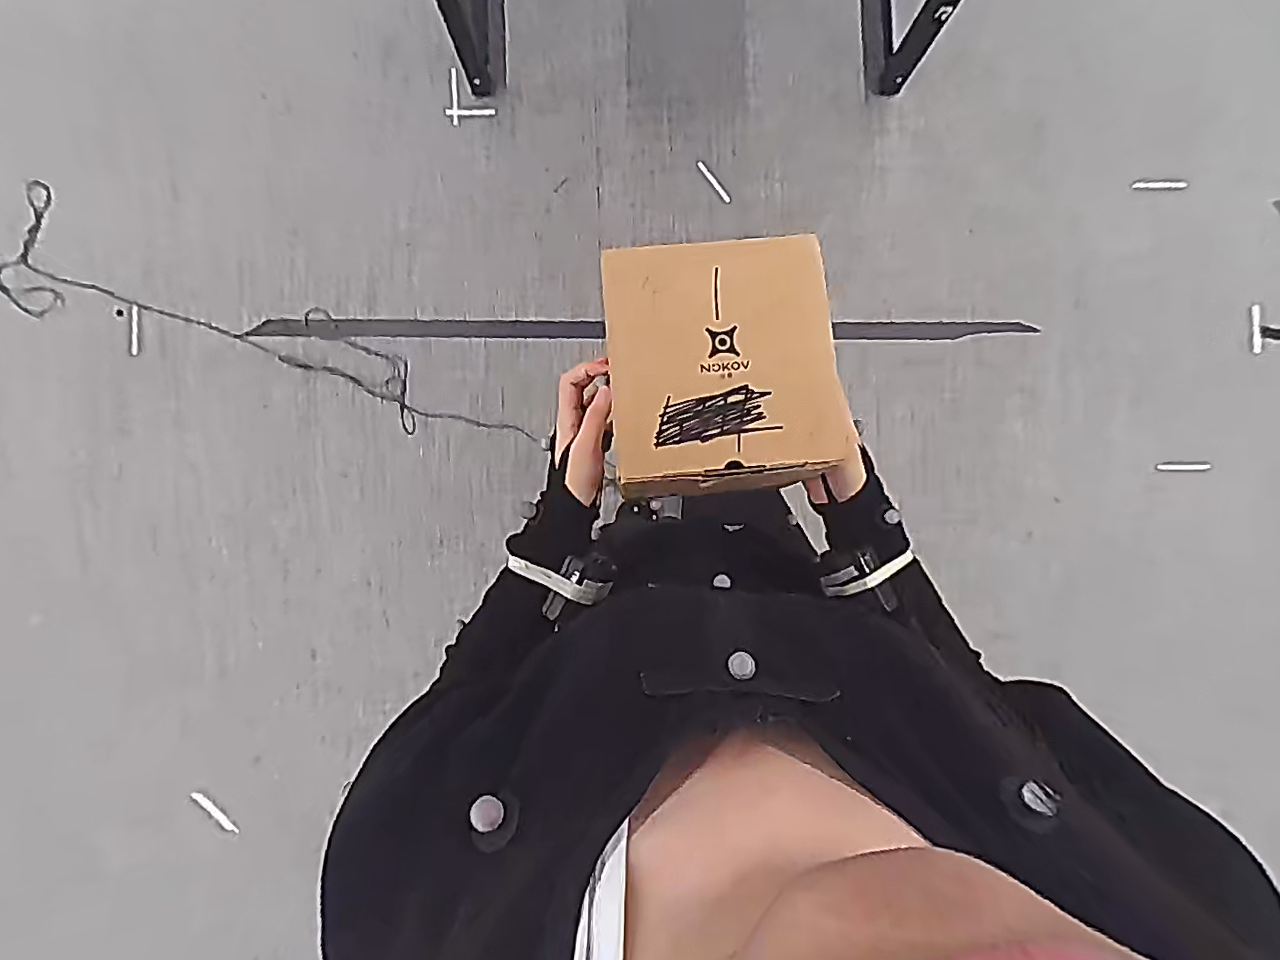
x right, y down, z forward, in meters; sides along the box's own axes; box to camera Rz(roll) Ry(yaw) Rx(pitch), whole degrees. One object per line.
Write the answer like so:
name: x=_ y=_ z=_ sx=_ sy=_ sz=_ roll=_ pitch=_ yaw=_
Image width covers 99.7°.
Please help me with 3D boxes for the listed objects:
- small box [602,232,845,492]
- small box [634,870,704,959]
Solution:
small box: x=0.058 y=-0.084 z=0.470 sx=0.168 sy=0.176 sz=0.179 roll=-4 pitch=83 yaw=-2
small box: x=0.071 y=1.163 z=1.405 sx=0.168 sy=0.176 sz=0.179 roll=2 pitch=89 yaw=-2
